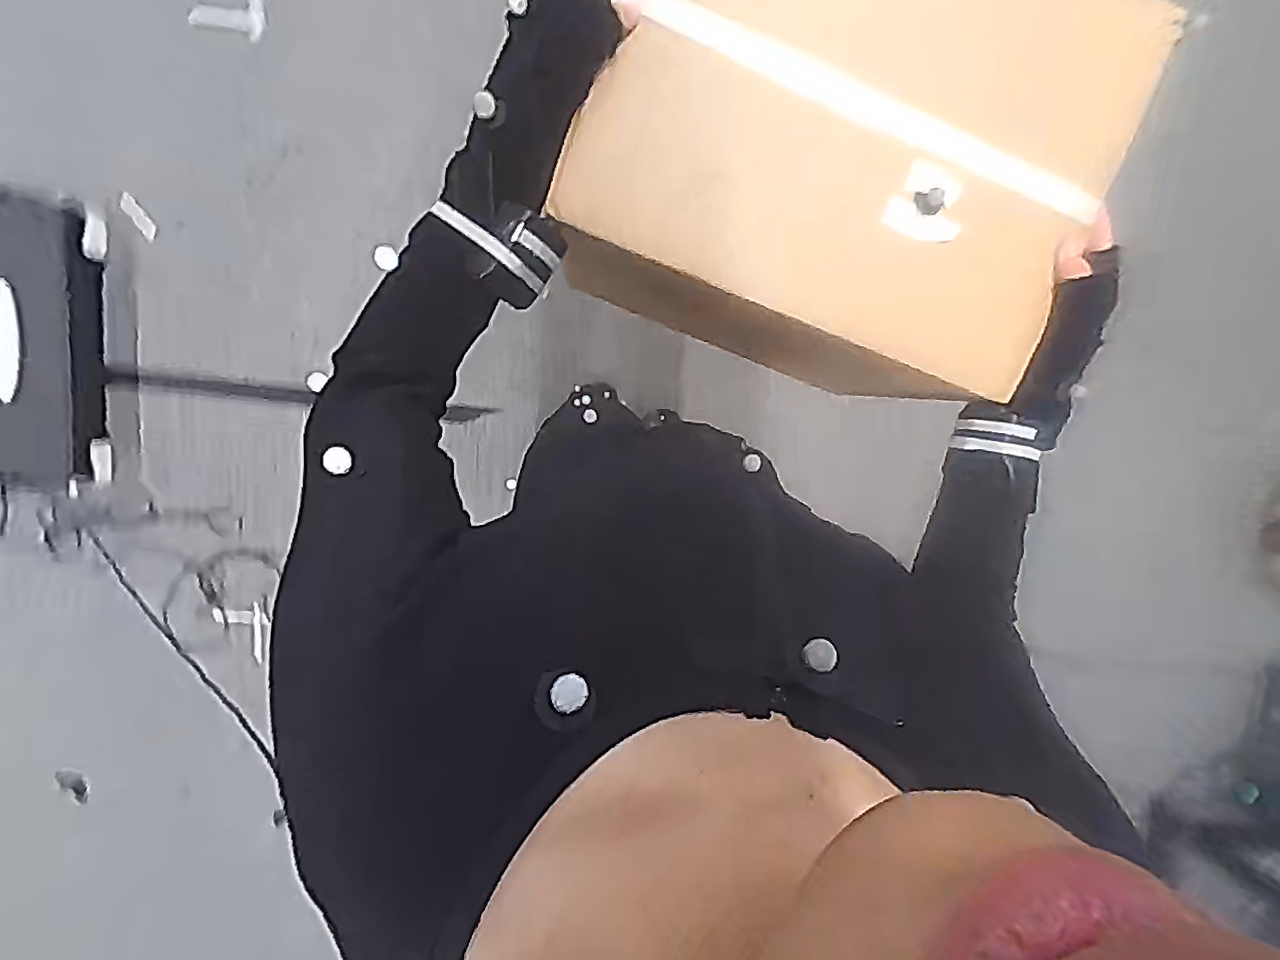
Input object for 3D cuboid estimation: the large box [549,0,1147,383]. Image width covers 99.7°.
[{"bbox_3d":[0.147,-0.309,0.557,0.408,0.320,0.320,18,98,-8],"label":"large box"}]
